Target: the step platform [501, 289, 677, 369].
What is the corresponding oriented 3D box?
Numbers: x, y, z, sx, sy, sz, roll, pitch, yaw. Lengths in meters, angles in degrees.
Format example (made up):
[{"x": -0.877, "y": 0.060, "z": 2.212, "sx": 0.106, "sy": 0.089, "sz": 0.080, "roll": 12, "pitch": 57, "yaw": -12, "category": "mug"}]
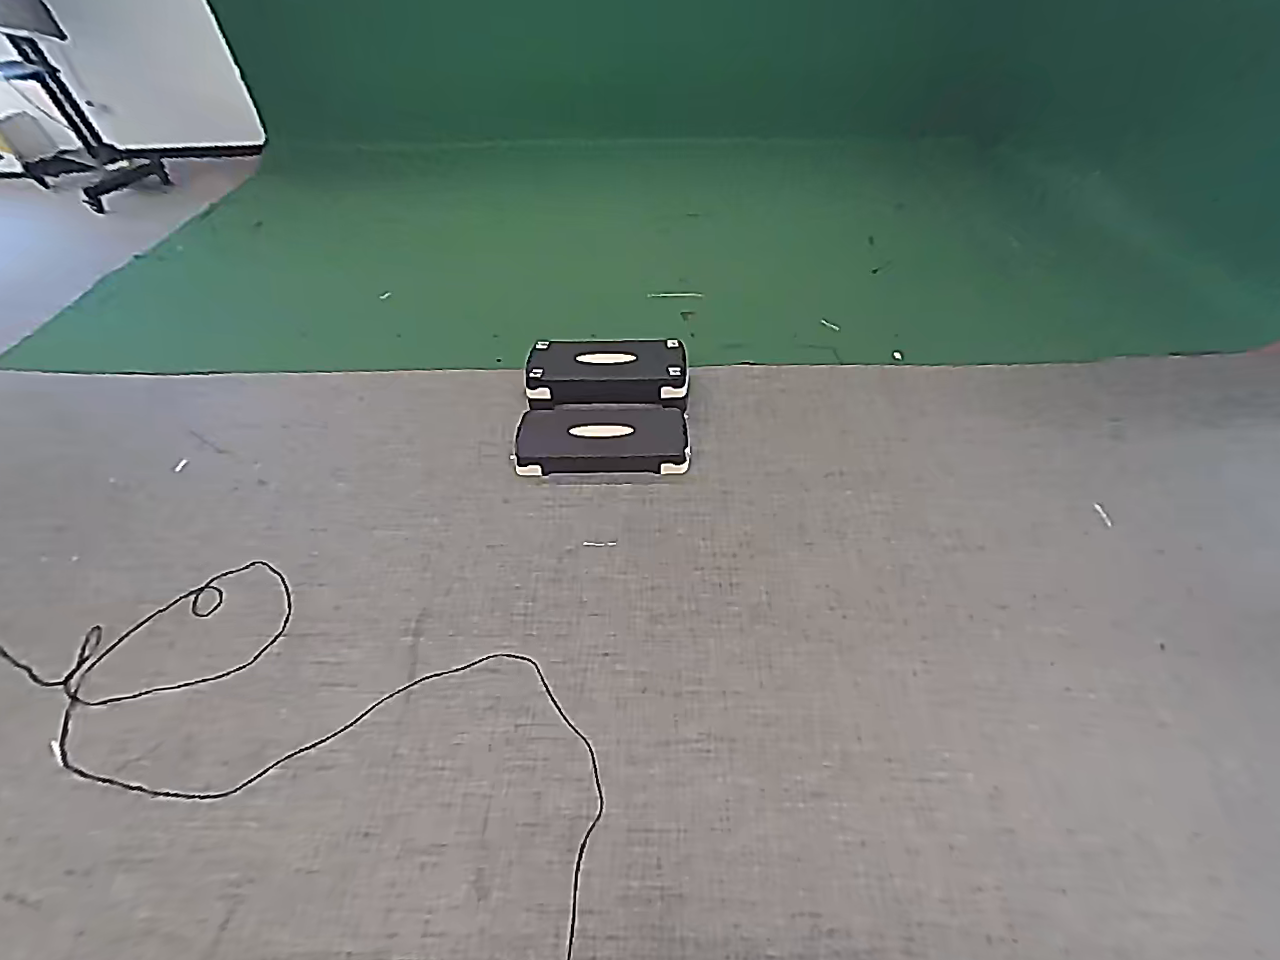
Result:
[{"x": -0.193, "y": -0.606, "z": 2.171, "sx": 0.684, "sy": 0.204, "sz": 0.286, "roll": -1, "pitch": 48, "yaw": 1, "category": "step platform"}]
